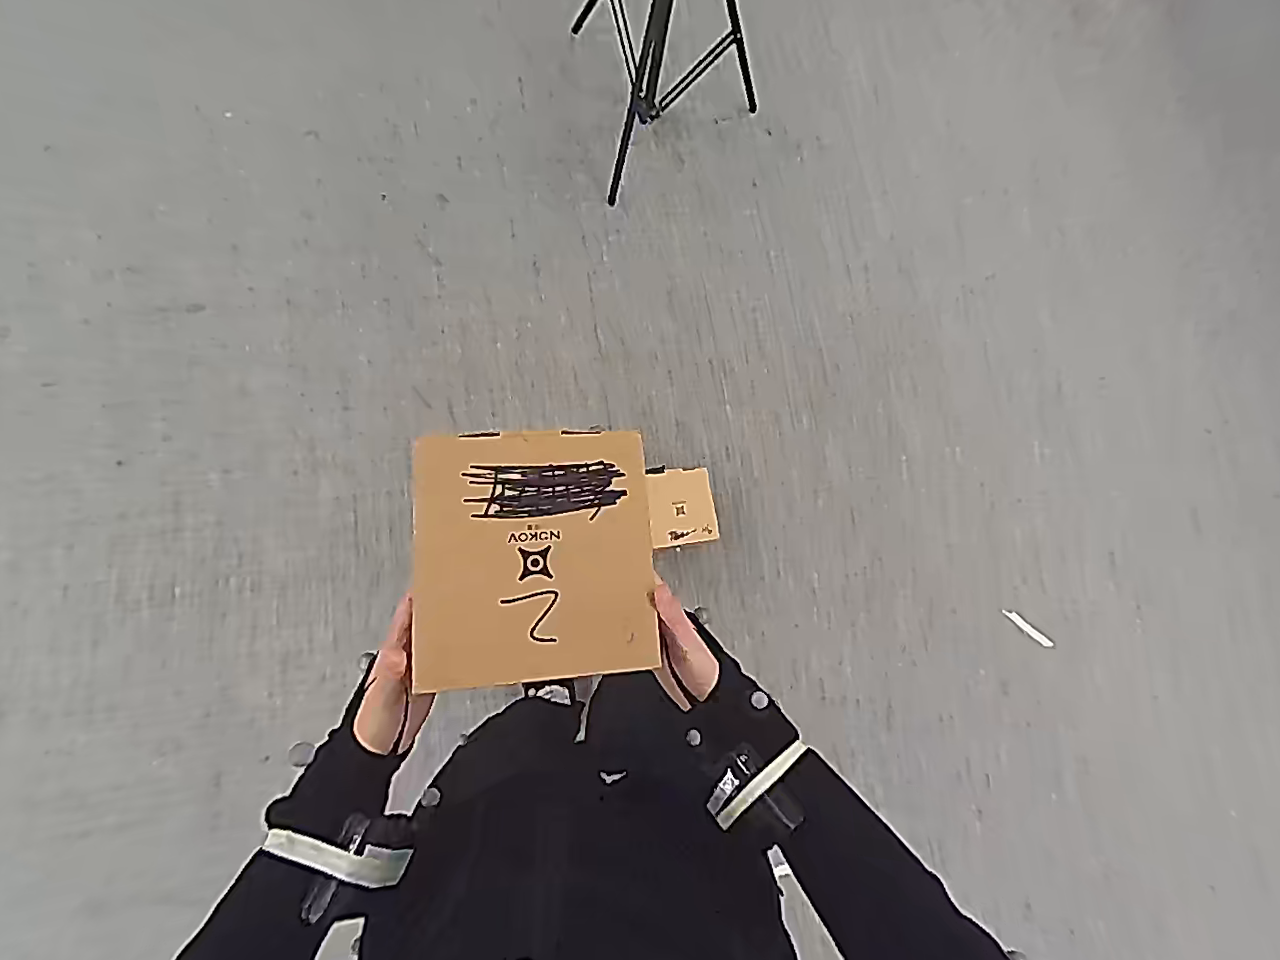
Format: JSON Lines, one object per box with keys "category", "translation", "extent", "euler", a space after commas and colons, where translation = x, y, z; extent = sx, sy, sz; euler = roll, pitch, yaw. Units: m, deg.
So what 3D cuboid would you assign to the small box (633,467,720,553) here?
{"category": "small box", "translation": [0.082, 0.078, 1.335], "extent": [0.168, 0.176, 0.179], "euler": [-8, 79, -10]}
